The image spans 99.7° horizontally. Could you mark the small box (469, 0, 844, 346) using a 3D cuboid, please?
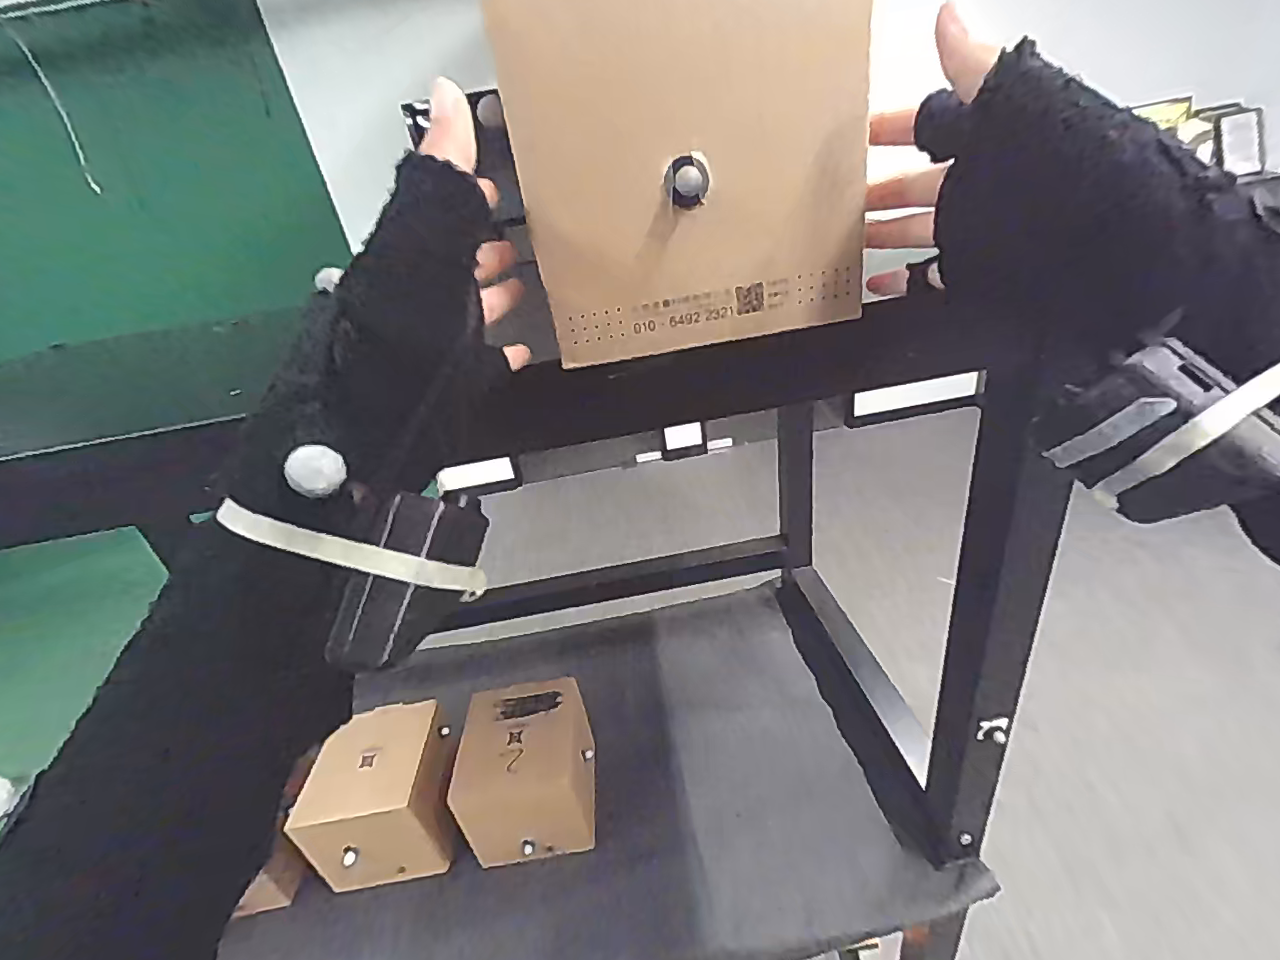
[{"bbox_3d":[0.016,-0.187,0.330,0.168,0.176,0.179,-9,27,1],"label":"small box"}]

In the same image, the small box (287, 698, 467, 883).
[{"bbox_3d":[-0.375,0.467,0.812,0.168,0.176,0.179,-10,27,-1],"label":"small box"}]
